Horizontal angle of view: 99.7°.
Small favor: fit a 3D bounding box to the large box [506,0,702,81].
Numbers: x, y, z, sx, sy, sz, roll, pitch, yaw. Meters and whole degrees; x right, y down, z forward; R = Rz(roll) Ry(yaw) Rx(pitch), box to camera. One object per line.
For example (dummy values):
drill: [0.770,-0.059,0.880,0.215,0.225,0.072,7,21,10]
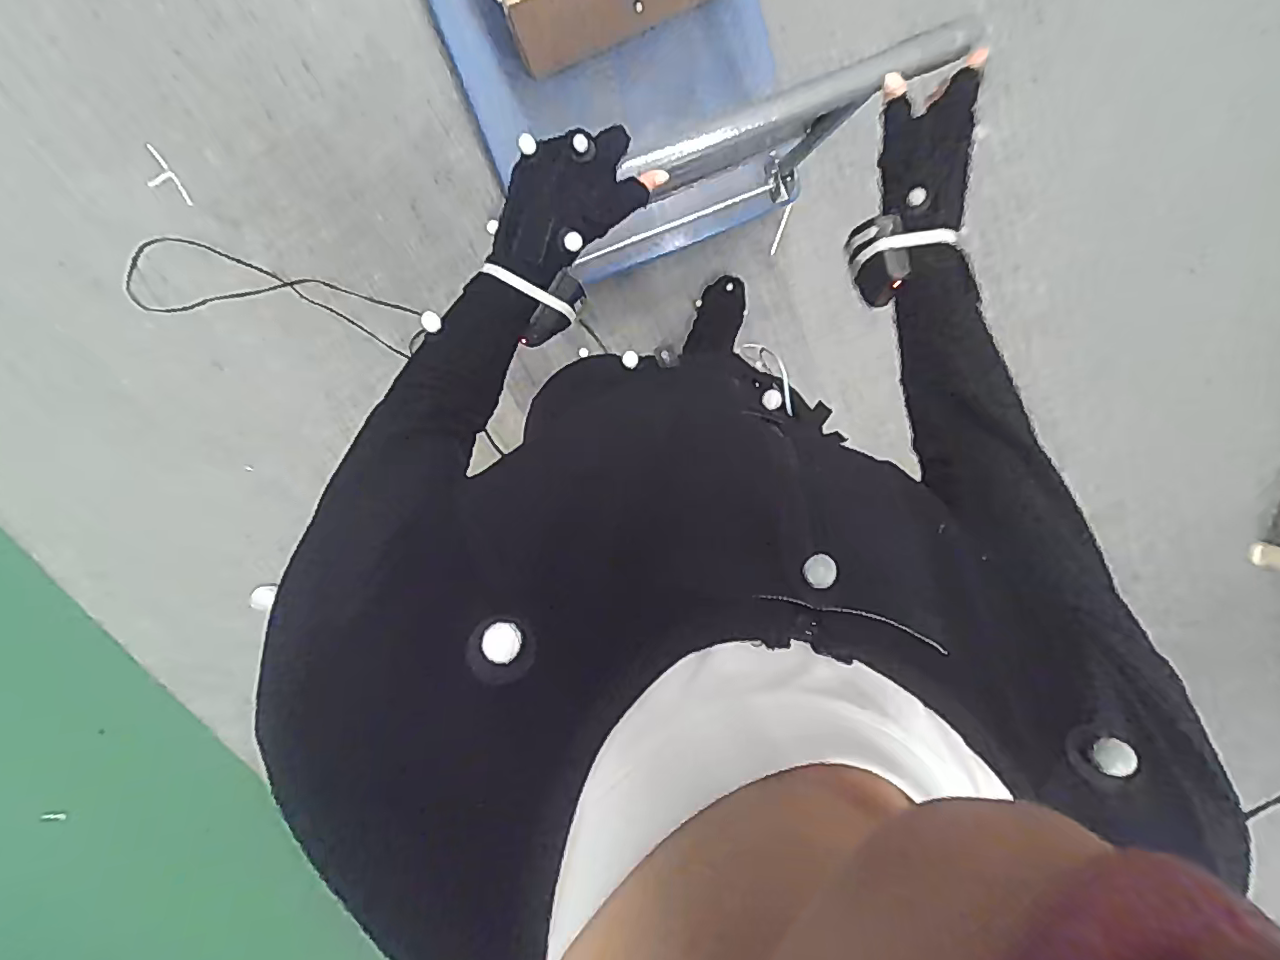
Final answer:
large box: [-0.061,-0.919,0.836,0.408,0.320,0.320,-23,109,6]
